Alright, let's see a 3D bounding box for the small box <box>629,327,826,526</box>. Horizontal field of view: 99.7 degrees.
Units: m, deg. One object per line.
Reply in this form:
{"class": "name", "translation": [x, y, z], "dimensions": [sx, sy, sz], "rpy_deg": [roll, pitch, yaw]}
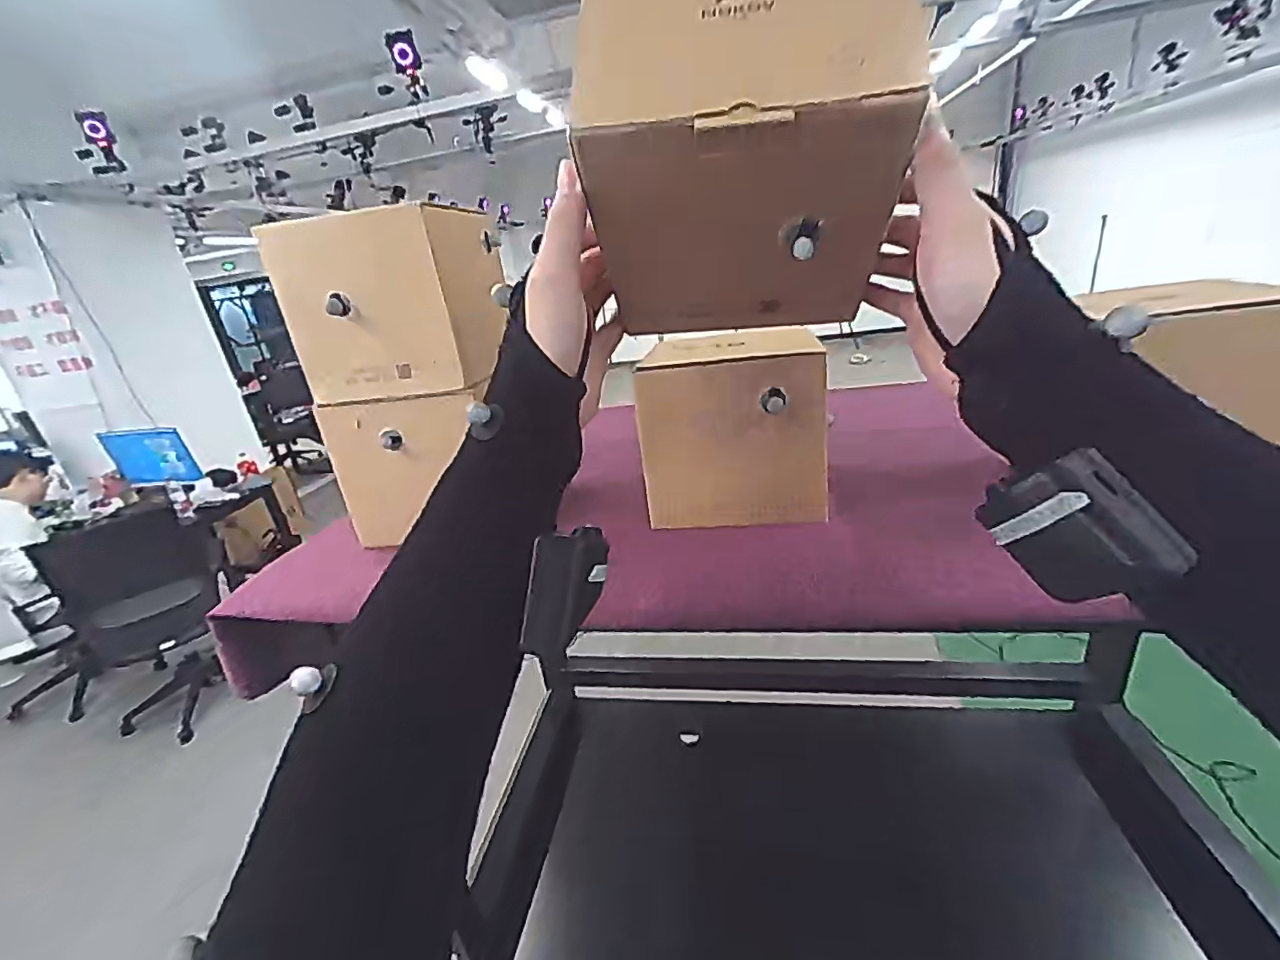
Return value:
{"class": "small box", "translation": [0.099, -0.060, 0.580], "dimensions": [0.179, 0.176, 0.168], "rpy_deg": [-4, 21, 13]}

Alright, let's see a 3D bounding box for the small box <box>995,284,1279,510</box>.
{"class": "small box", "translation": [0.461, -0.079, 0.497], "dimensions": [0.179, 0.176, 0.168], "rpy_deg": [-3, 20, 12]}

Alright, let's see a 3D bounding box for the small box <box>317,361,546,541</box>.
{"class": "small box", "translation": [-0.227, -0.036, 0.639], "dimensions": [0.179, 0.176, 0.168], "rpy_deg": [-3, 22, 9]}

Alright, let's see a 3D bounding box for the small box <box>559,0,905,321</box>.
{"class": "small box", "translation": [0.057, -0.220, 0.355], "dimensions": [0.168, 0.179, 0.176], "rpy_deg": [0, -21, 10]}

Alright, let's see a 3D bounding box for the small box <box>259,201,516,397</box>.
{"class": "small box", "translation": [-0.248, -0.187, 0.584], "dimensions": [0.168, 0.176, 0.179], "rpy_deg": [-5, 21, 8]}
